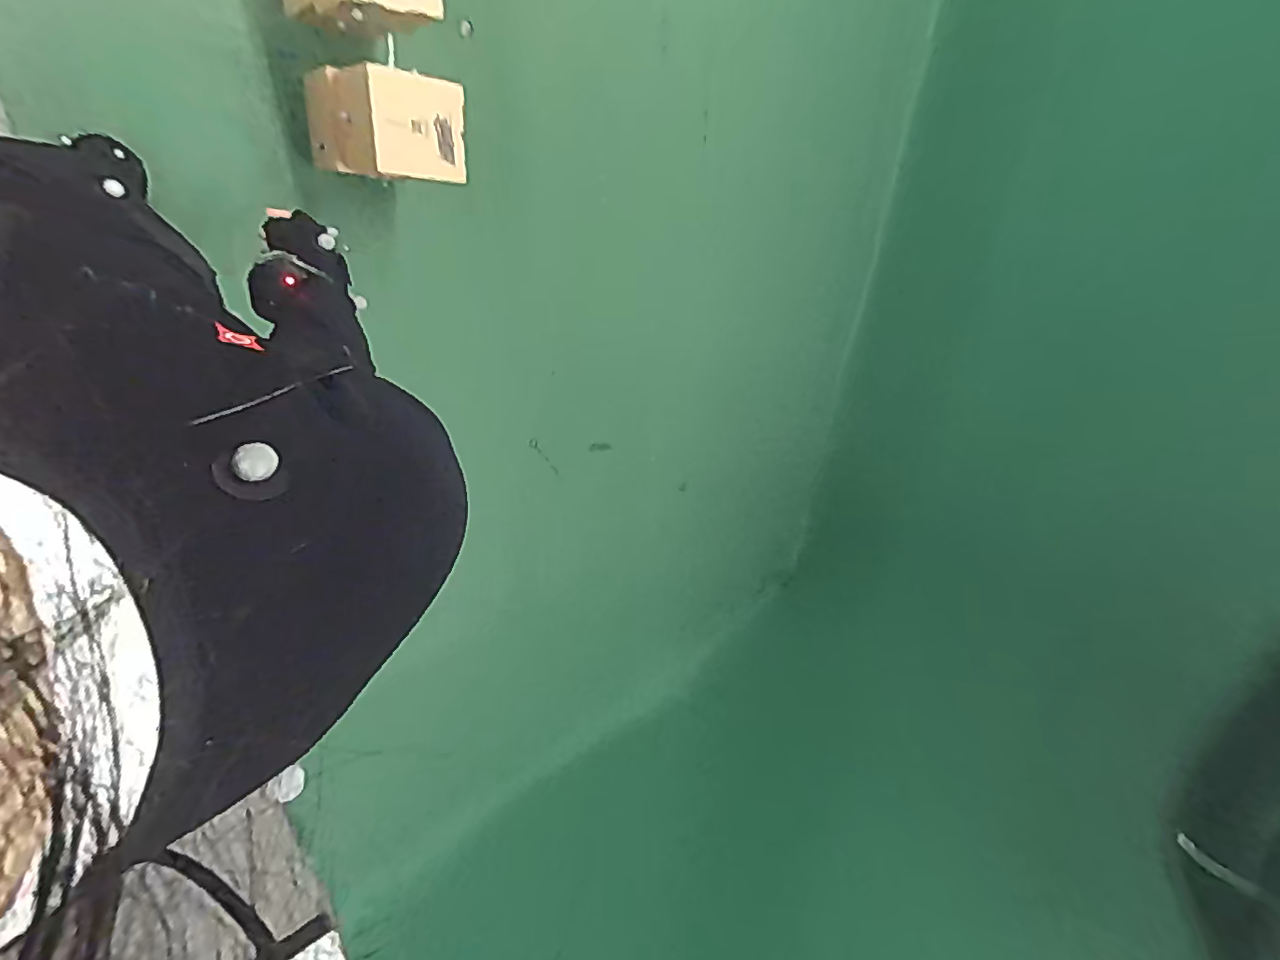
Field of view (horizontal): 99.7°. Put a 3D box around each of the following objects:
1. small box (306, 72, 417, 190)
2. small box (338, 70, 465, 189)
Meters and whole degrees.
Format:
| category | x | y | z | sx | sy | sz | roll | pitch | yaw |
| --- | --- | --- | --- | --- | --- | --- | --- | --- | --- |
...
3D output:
| category | x | y | z | sx | sy | sz | roll | pitch | yaw |
| --- | --- | --- | --- | --- | --- | --- | --- | --- | --- |
| small box | -0.589 | -0.730 | 1.148 | 0.168 | 0.176 | 0.179 | -15 | 122 | -41 |
| small box | -0.463 | -0.676 | 1.058 | 0.179 | 0.176 | 0.168 | -17 | 124 | -40 |
